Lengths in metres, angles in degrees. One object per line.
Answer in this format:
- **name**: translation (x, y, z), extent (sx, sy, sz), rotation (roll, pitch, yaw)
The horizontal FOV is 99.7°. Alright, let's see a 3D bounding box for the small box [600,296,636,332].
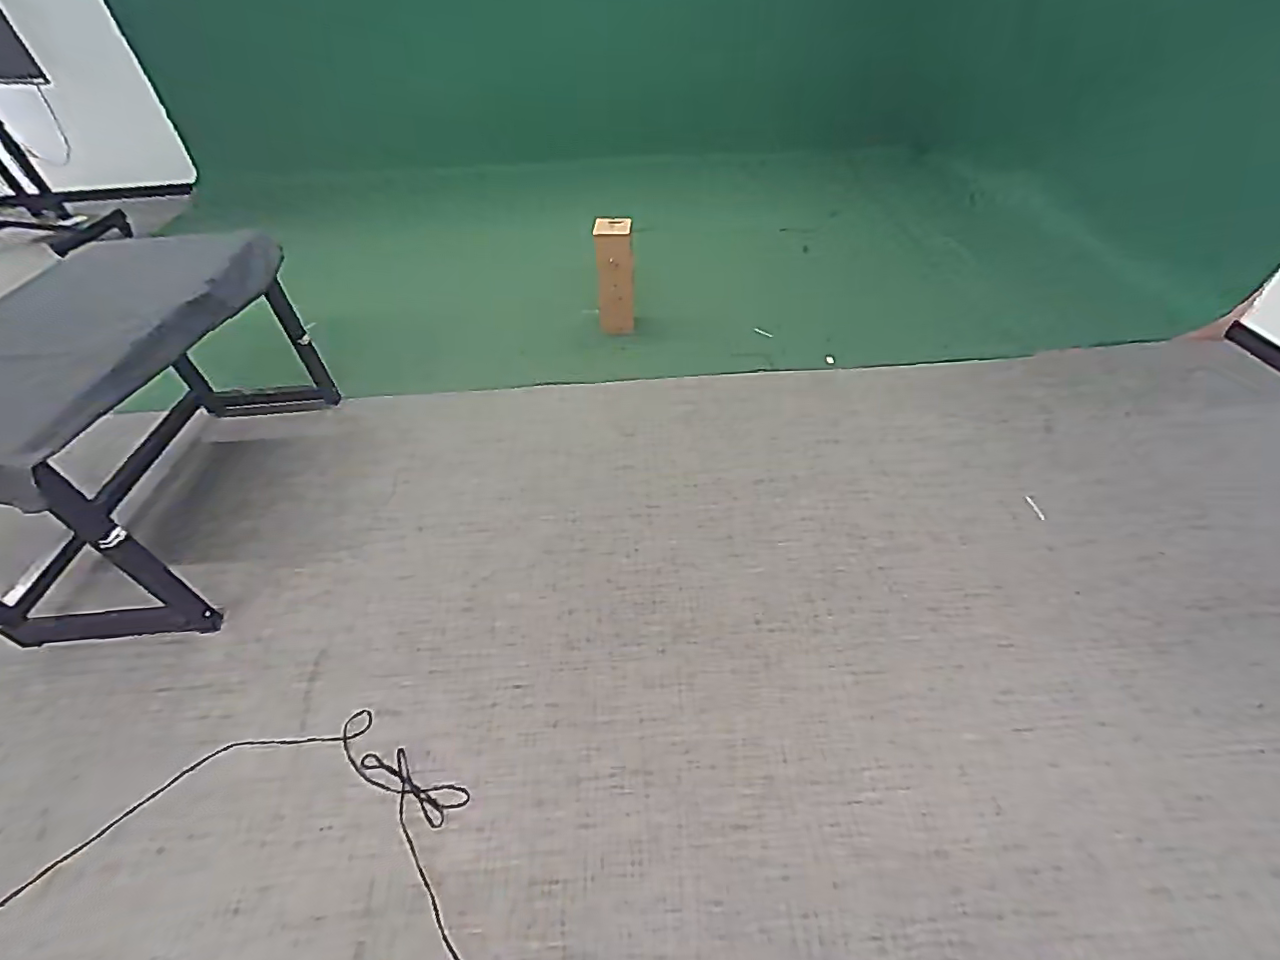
- **small box**: translation (-0.109, -0.865, 2.731), extent (0.168, 0.176, 0.179), rotation (3, 45, 2)

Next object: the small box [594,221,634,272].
- **small box**: translation (-0.117, -1.088, 2.516), extent (0.168, 0.176, 0.179), rotation (1, 47, 3)

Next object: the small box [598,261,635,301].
- **small box**: translation (-0.110, -0.973, 2.635), extent (0.168, 0.176, 0.179), rotation (1, 47, 3)
